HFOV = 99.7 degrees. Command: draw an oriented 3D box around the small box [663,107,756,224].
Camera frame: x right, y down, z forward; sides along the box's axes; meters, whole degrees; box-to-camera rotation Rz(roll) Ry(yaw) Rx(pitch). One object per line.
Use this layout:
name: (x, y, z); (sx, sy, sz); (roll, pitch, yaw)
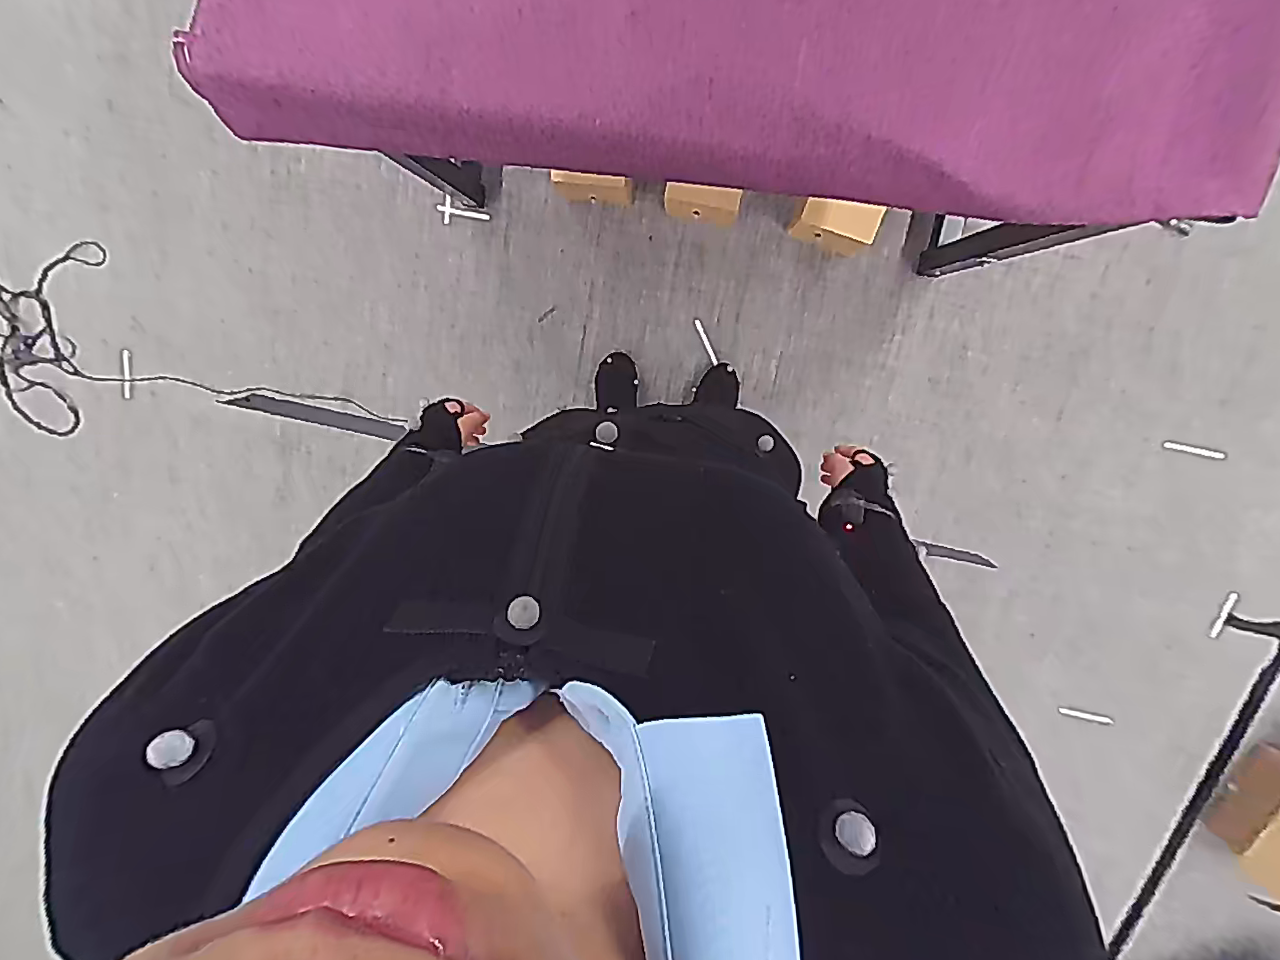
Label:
small box: (0.153, -0.703, 1.230); (0.168, 0.176, 0.179); (12, 104, 0)

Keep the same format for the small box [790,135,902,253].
small box: (0.454, -0.636, 1.230); (0.168, 0.176, 0.179); (19, 104, -1)
